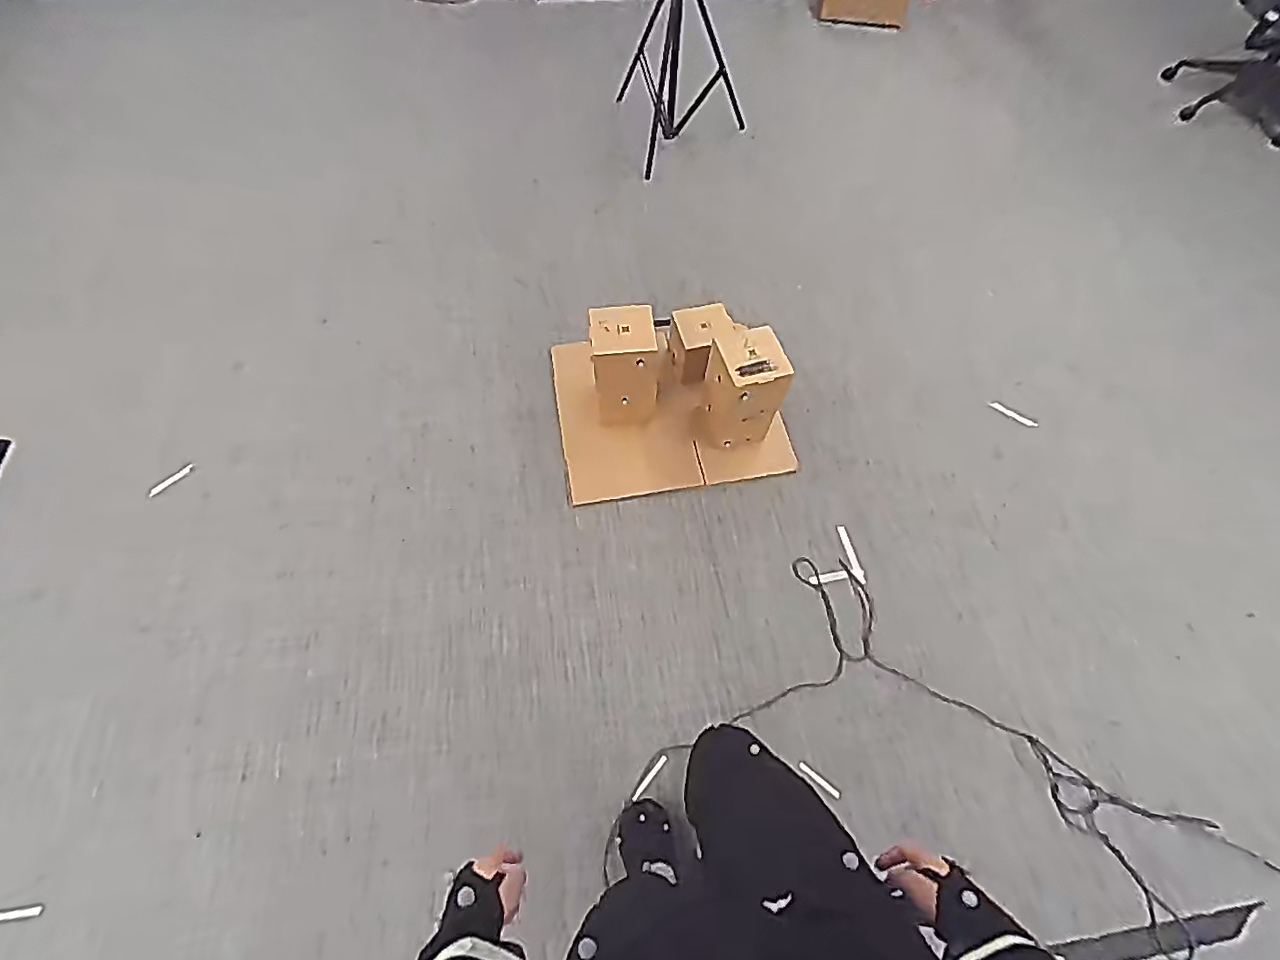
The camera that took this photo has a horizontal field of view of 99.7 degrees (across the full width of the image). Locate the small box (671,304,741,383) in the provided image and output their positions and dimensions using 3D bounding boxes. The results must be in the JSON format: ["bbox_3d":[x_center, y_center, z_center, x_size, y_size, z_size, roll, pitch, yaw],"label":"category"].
[{"bbox_3d":[0.206,-0.439,1.749,0.179,0.176,0.168,-13,62,-7],"label":"small box"}]

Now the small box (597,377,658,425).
[{"bbox_3d":[-0.043,-0.286,1.660,0.179,0.176,0.168,-6,63,-3],"label":"small box"}]

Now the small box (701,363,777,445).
[{"bbox_3d":[0.294,-0.221,1.635,0.168,0.176,0.179,-12,63,-8],"label":"small box"}]

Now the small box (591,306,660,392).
[{"bbox_3d":[-0.043,-0.363,1.514,0.179,0.176,0.168,-5,62,-3],"label":"small box"}]
